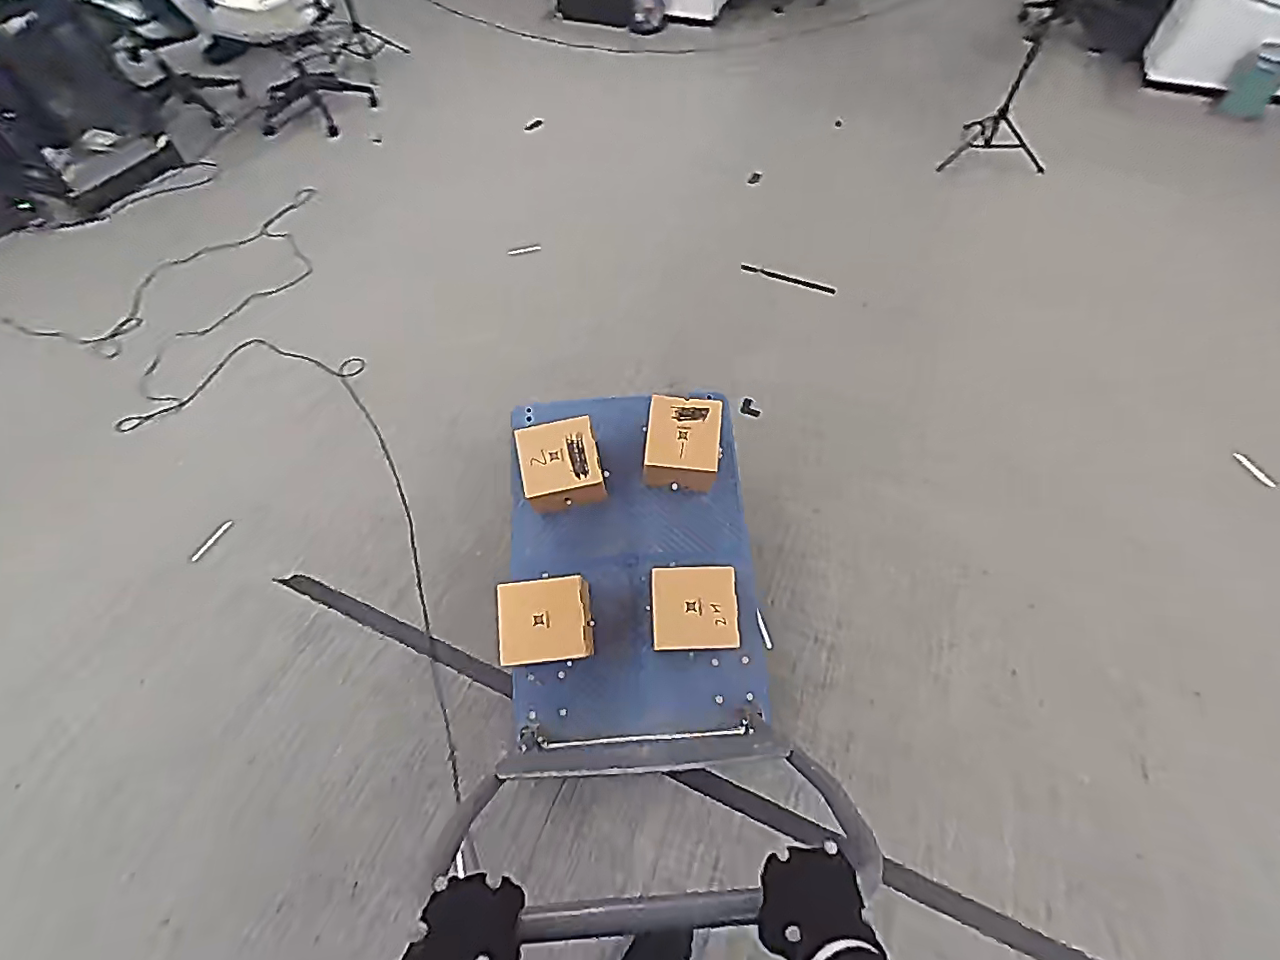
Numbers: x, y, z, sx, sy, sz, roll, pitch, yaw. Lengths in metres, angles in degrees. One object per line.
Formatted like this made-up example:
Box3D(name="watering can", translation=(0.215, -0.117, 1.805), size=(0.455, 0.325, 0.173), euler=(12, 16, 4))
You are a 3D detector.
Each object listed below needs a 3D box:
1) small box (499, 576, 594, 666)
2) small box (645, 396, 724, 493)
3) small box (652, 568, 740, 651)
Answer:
Box3D(name="small box", translation=(-0.200, 0.311, 1.178), size=(0.179, 0.176, 0.168), euler=(-6, 73, -3))
Box3D(name="small box", translation=(0.102, -0.082, 1.299), size=(0.168, 0.176, 0.179), euler=(6, 74, 2))
Box3D(name="small box", translation=(0.115, 0.287, 1.184), size=(0.179, 0.176, 0.168), euler=(-1, 73, 0))
